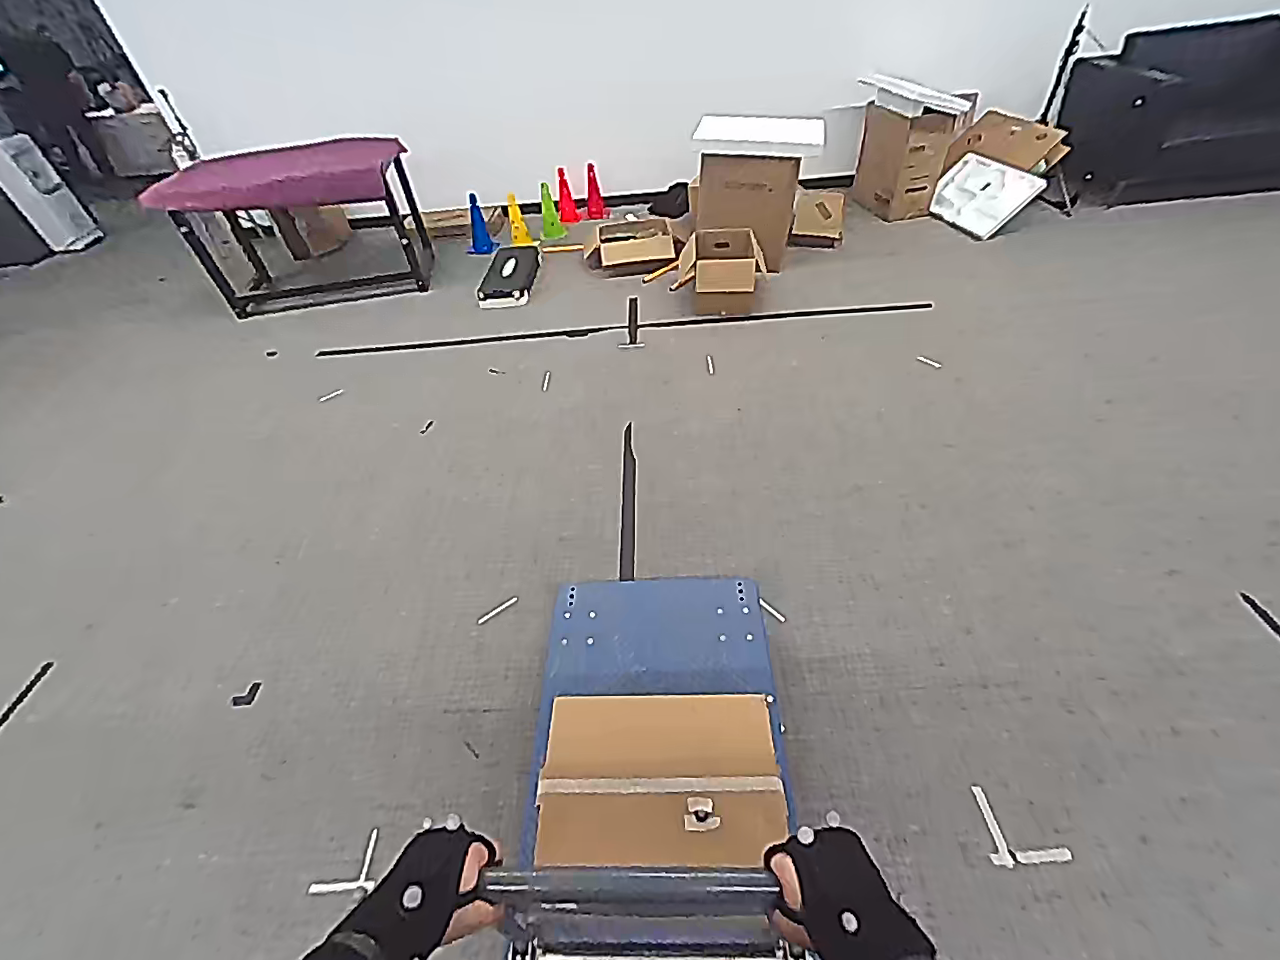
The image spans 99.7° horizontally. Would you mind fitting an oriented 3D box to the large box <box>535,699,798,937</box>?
[{"bbox_3d":[0.043,0.632,1.013,0.408,0.320,0.320,-2,45,2],"label":"large box"}]
